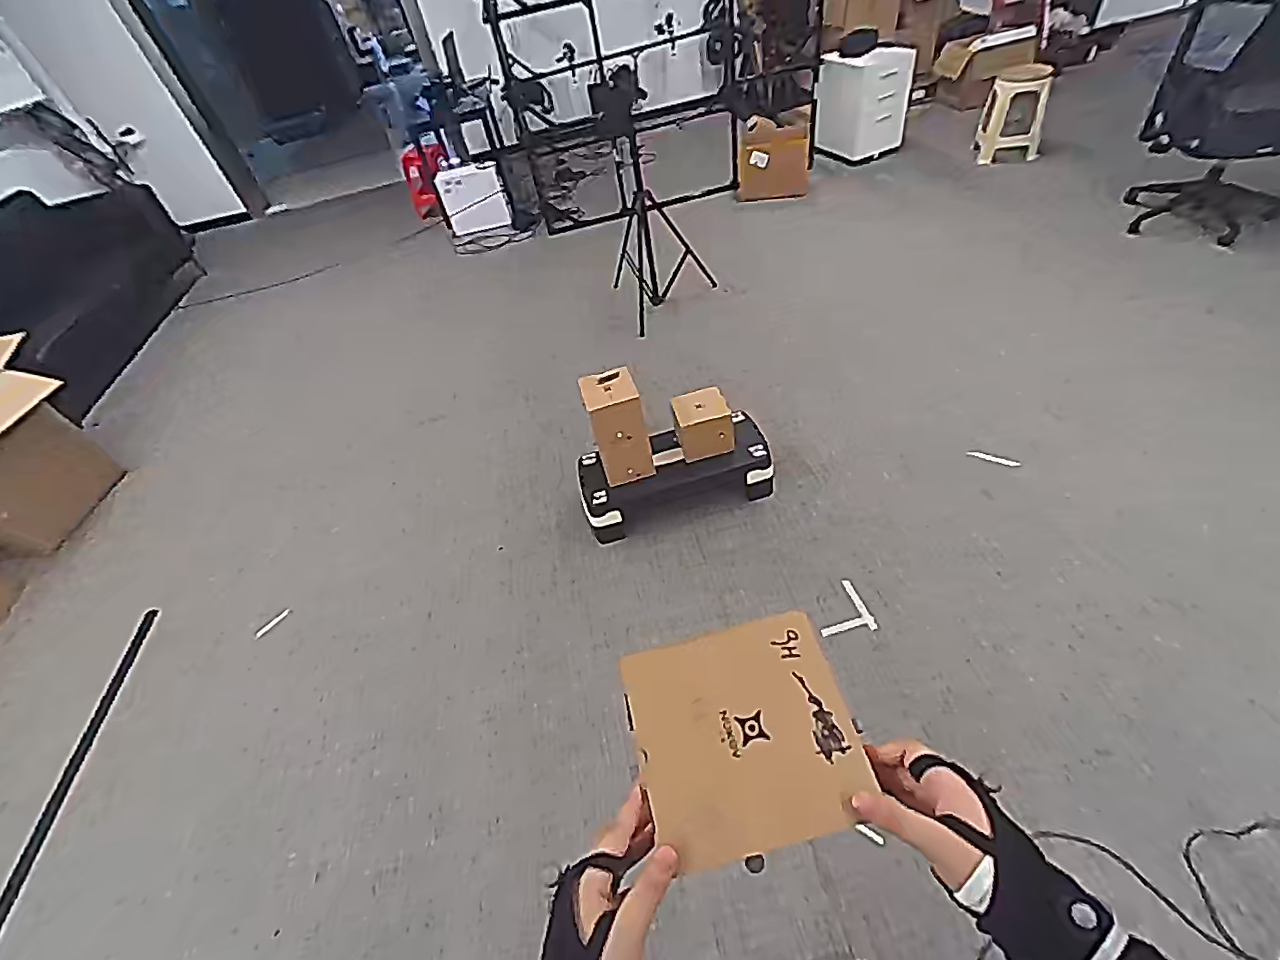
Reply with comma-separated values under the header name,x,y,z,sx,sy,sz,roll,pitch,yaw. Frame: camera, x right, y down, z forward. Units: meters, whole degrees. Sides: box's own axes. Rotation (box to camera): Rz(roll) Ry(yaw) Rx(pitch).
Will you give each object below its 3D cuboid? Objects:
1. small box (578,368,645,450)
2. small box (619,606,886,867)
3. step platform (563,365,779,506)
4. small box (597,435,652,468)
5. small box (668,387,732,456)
name,x,y,z,sx,sy,sz,roll,pitch,yaw
small box,-0.091,-0.225,1.728,0.168,0.176,0.179,-17,46,-4
small box,0.091,0.242,0.502,0.179,0.176,0.168,-14,55,-2
step platform,0.101,-0.146,1.790,0.684,0.204,0.286,-16,45,-3
small box,-0.062,-0.110,1.841,0.168,0.176,0.179,-16,46,-3
small box,0.207,-0.187,1.855,0.179,0.176,0.168,-16,45,-3
